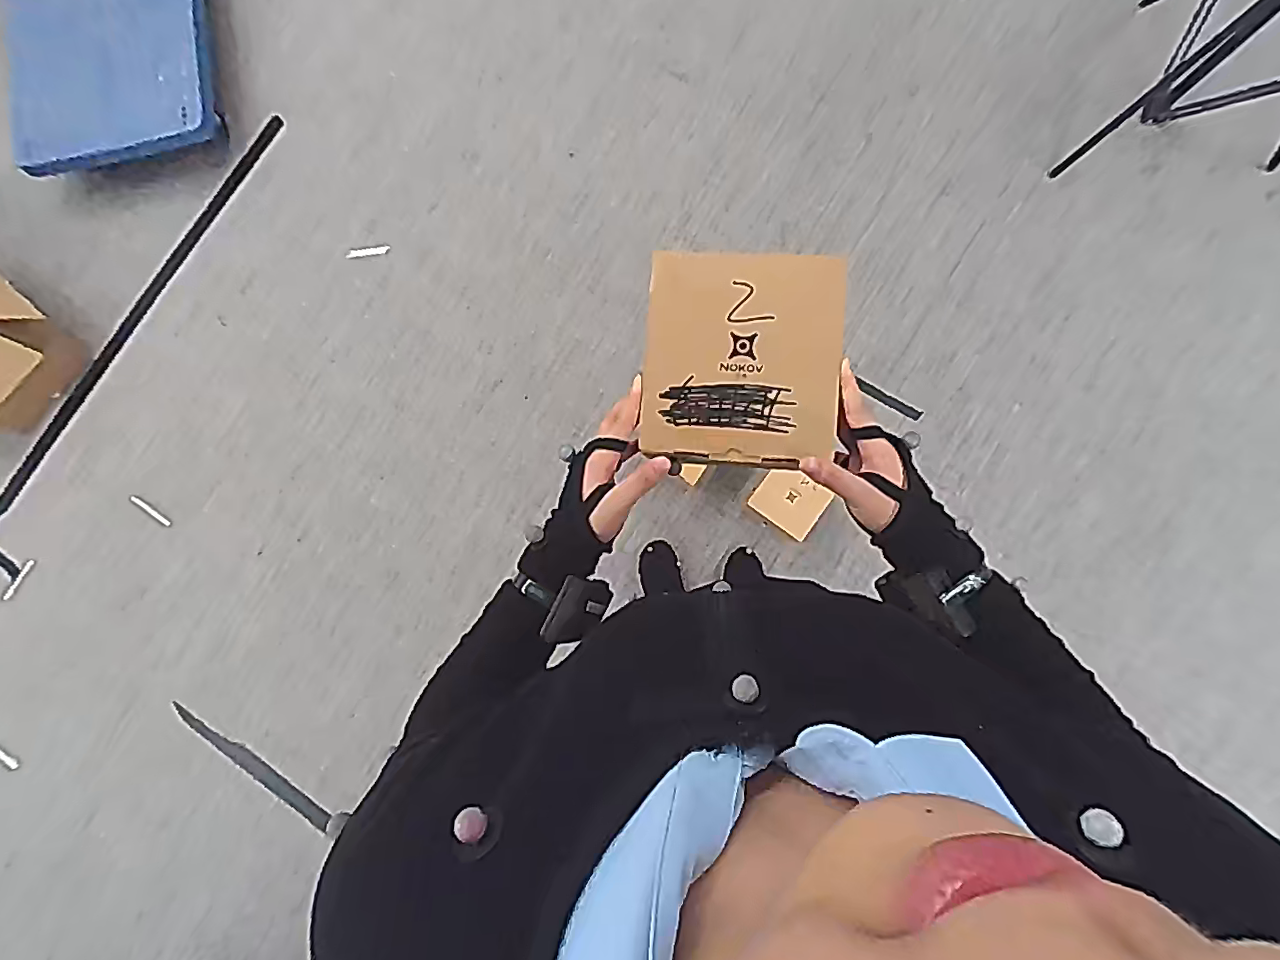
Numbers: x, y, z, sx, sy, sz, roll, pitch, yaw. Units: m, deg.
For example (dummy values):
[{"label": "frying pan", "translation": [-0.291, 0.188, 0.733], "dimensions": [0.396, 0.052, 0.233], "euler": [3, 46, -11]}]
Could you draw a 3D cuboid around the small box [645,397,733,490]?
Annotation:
[{"label": "small box", "translation": [0.128, -0.090, 1.453], "dimensions": [0.168, 0.176, 0.179], "euler": [33, 87, 7]}]

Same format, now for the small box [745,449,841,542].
[{"label": "small box", "translation": [0.391, 0.047, 1.418], "dimensions": [0.168, 0.176, 0.179], "euler": [36, 87, 6]}]
